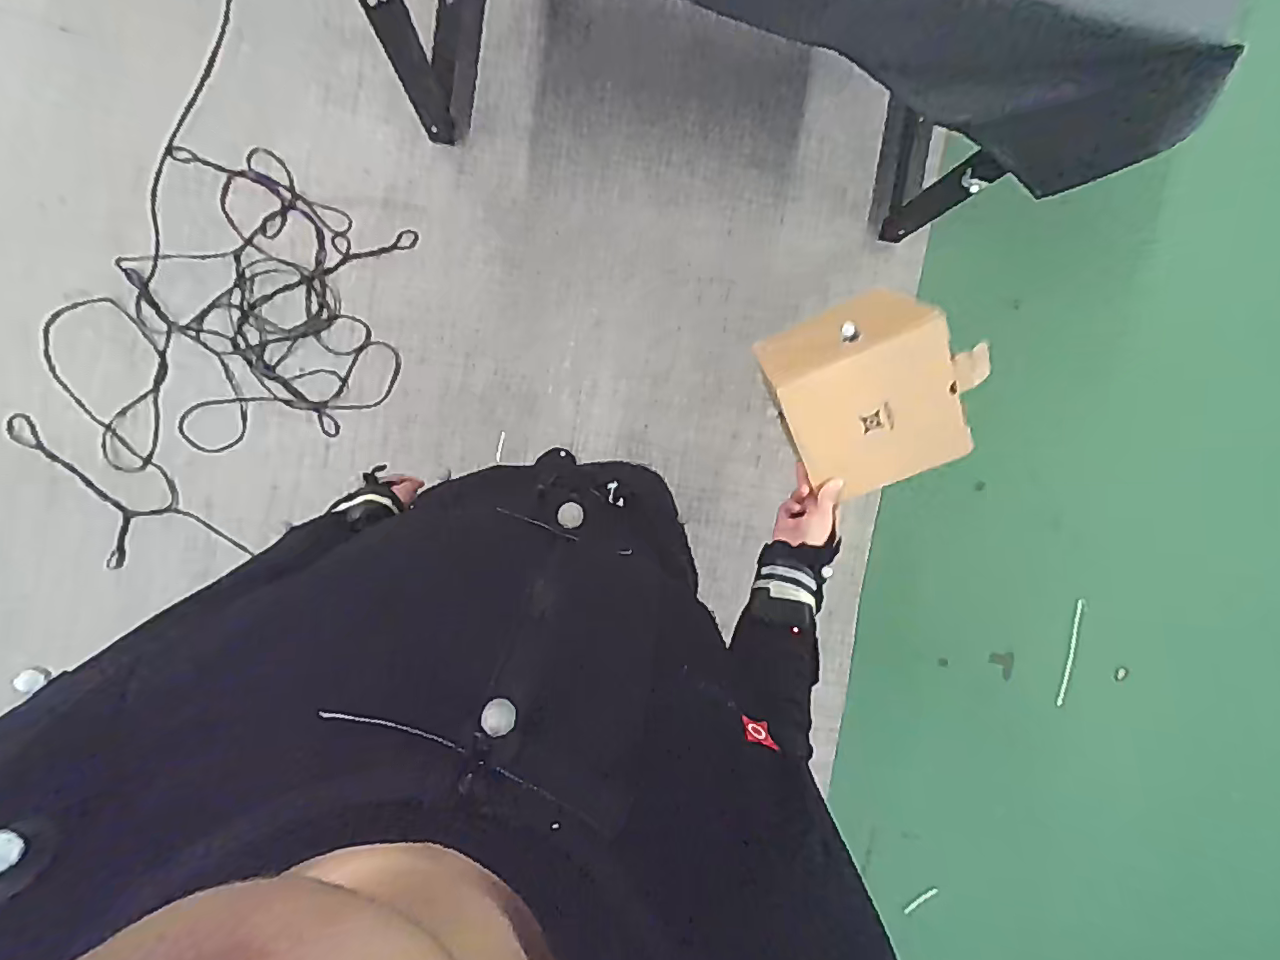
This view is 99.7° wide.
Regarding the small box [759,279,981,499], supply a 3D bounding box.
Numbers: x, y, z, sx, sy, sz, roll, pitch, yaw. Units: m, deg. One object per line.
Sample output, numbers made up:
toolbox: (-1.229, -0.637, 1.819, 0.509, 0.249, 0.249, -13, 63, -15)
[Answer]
small box: (0.251, -0.112, 0.630, 0.179, 0.176, 0.168, -25, 115, 13)
